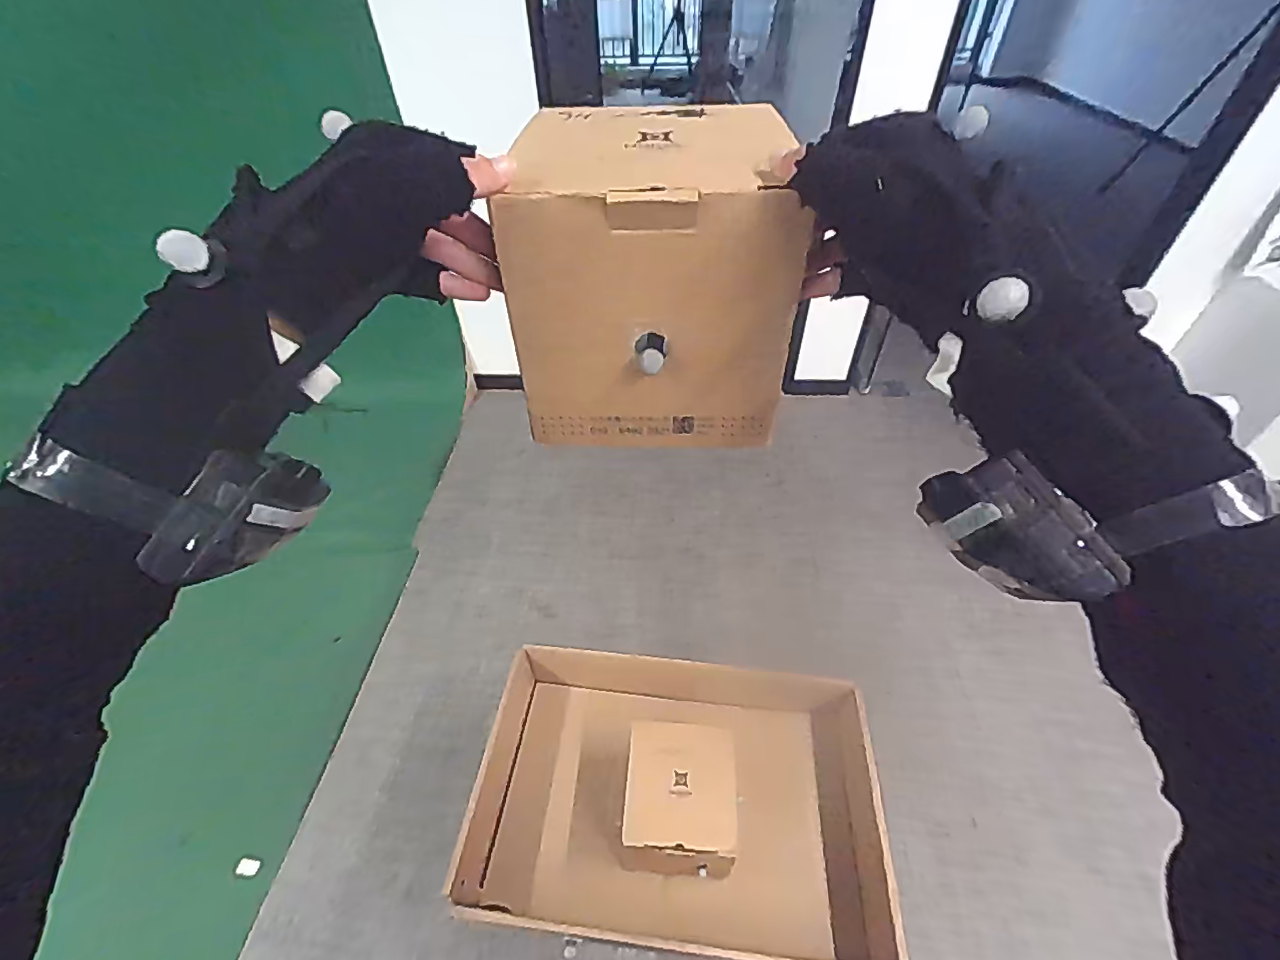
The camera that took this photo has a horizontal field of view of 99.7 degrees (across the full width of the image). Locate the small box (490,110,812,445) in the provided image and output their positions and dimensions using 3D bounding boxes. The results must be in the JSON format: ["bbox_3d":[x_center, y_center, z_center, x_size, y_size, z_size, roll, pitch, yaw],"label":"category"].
[{"bbox_3d":[0.011,-0.139,0.381,0.168,0.176,0.179,1,46,2],"label":"small box"}]

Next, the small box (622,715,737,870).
[{"bbox_3d":[0.063,0.507,0.874,0.168,0.176,0.179,3,44,3],"label":"small box"}]
